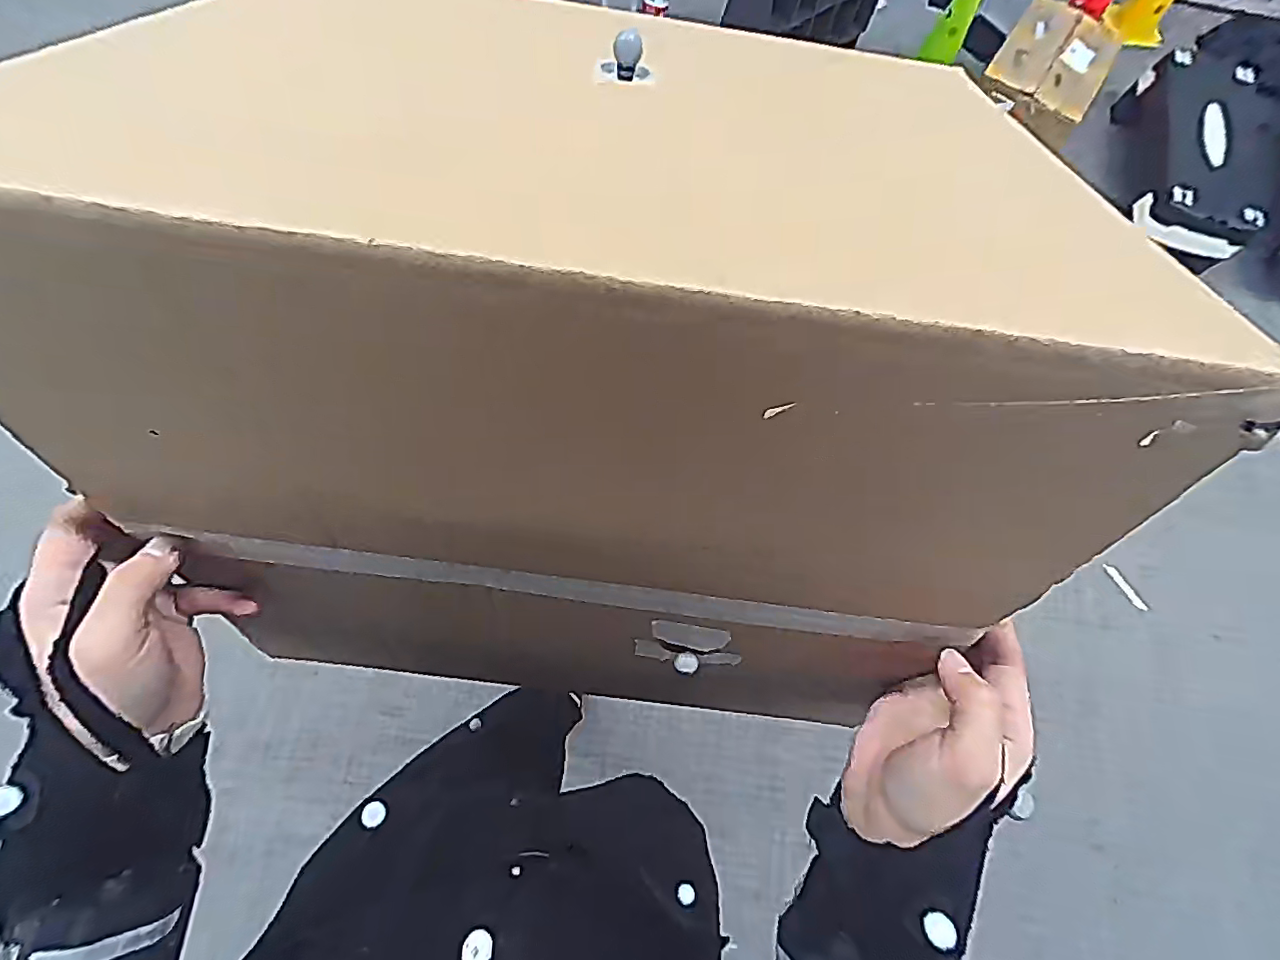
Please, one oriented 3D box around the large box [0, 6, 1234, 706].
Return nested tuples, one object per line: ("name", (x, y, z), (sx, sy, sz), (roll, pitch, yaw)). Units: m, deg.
("large box", (-0.028, -0.072, 0.362), (0.408, 0.320, 0.320), (7, 51, -2))
